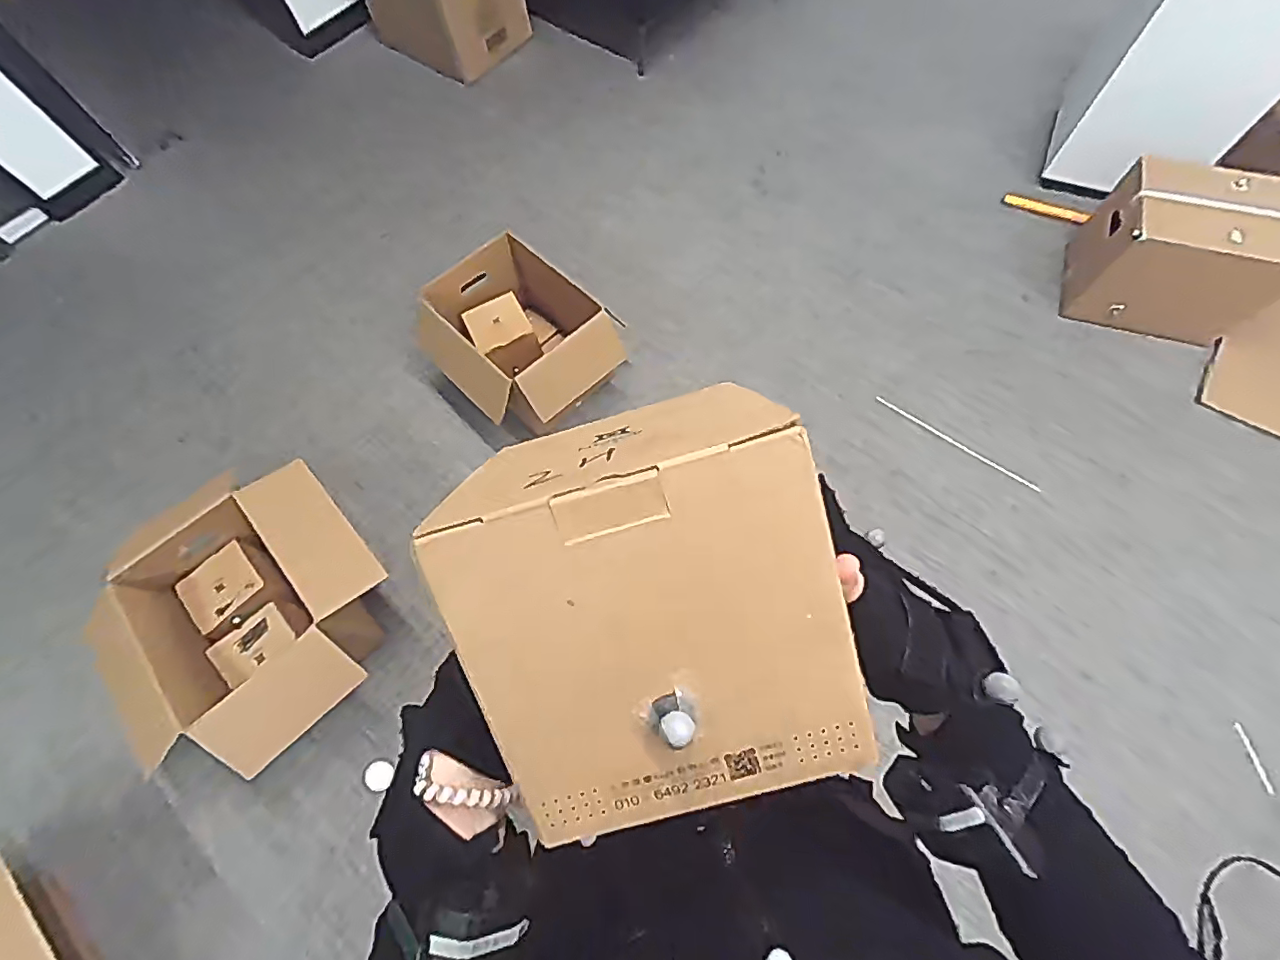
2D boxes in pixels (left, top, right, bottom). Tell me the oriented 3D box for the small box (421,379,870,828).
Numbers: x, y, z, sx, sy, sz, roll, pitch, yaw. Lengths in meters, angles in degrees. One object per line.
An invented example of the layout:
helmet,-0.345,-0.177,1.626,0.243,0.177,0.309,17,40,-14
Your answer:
small box,0.009,0.051,0.314,0.168,0.179,0.176,-17,105,3
